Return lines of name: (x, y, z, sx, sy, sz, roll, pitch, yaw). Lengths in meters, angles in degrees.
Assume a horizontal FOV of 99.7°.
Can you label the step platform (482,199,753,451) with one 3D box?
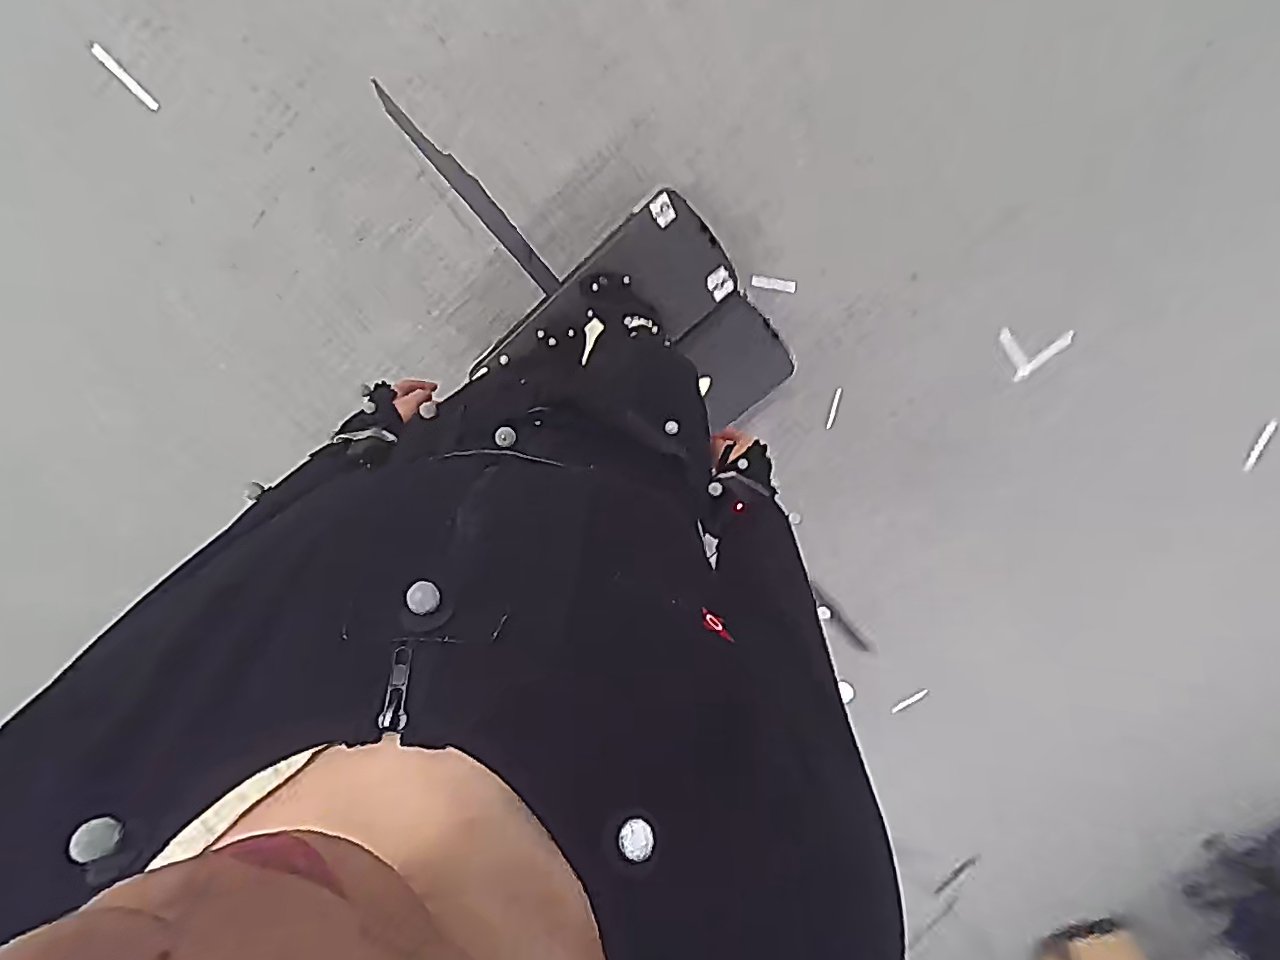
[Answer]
step platform: (-0.062, -0.372, 1.355, 0.684, 0.204, 0.286, -35, 109, 12)
